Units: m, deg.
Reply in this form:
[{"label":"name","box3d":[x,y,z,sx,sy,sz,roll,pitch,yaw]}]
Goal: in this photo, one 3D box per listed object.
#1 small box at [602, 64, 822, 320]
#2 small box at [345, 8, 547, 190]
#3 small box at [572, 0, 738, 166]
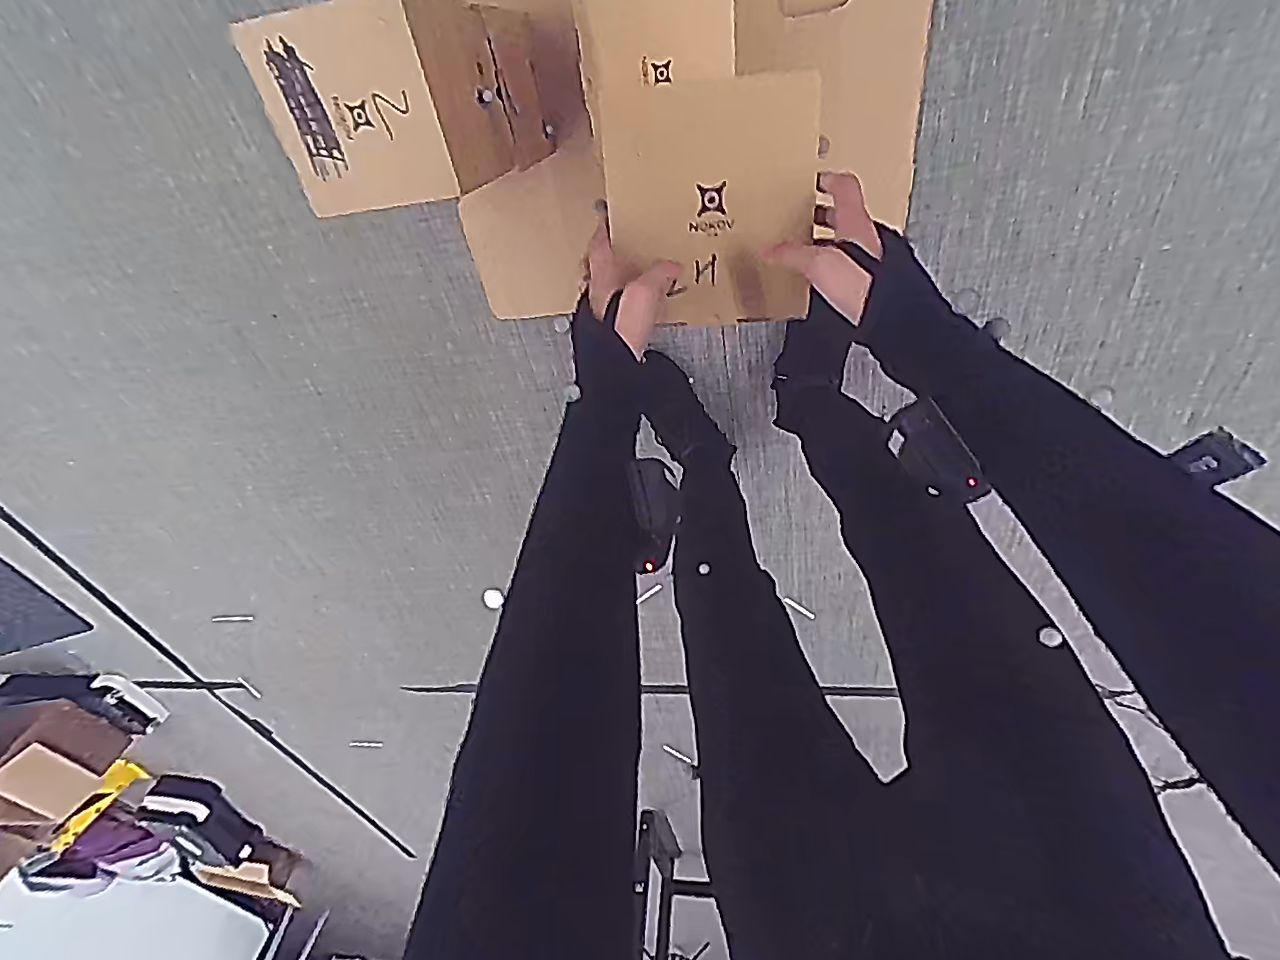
[{"label":"small box","box3d":[0.058,-0.257,0.503,0.168,0.176,0.179,-2,118,4]},{"label":"small box","box3d":[-0.234,-0.499,0.713,0.179,0.176,0.168,-2,128,12]},{"label":"small box","box3d":[0.029,-0.506,0.671,0.179,0.176,0.168,-2,128,10]}]
